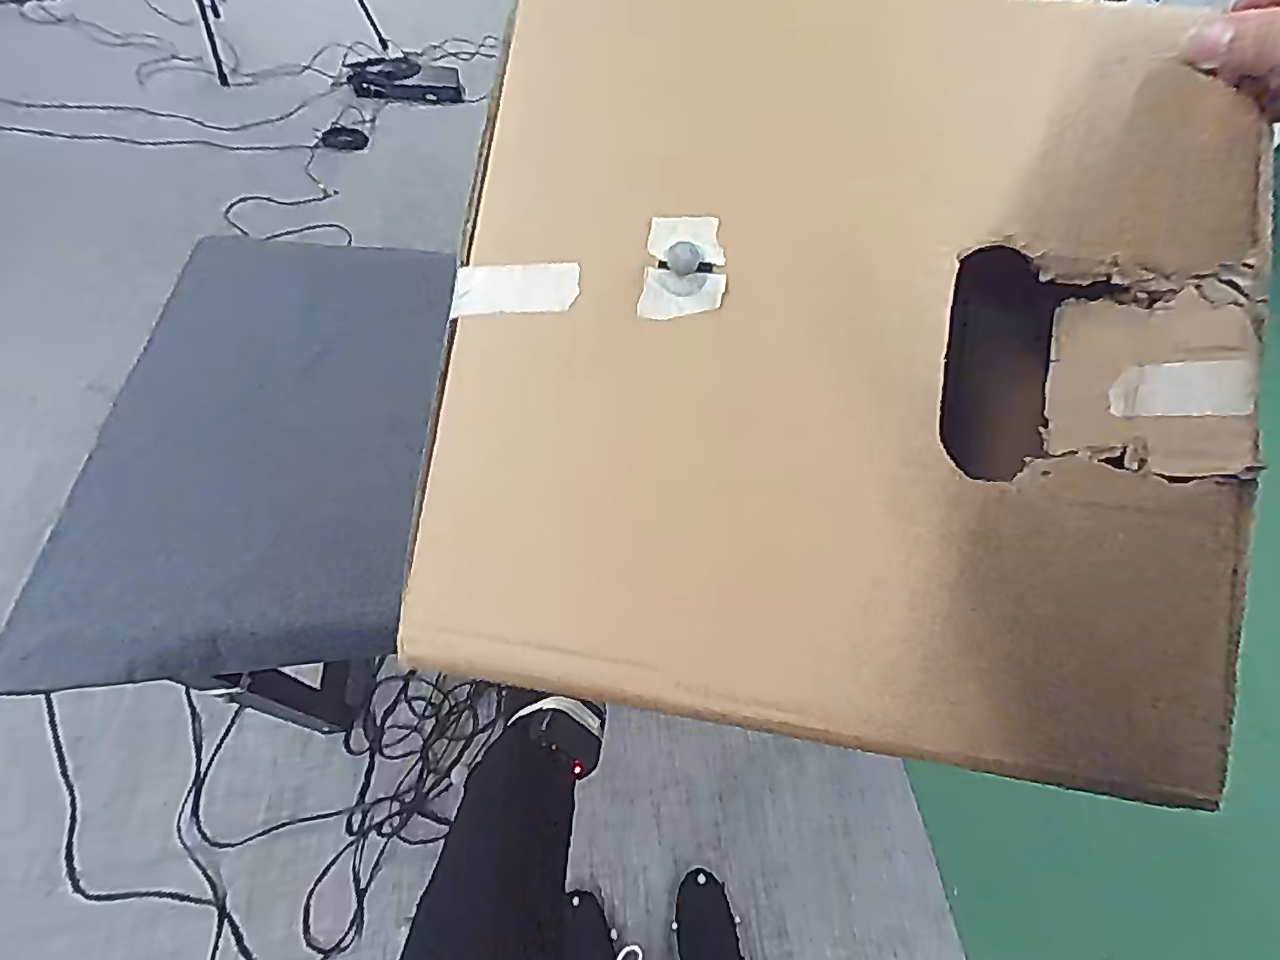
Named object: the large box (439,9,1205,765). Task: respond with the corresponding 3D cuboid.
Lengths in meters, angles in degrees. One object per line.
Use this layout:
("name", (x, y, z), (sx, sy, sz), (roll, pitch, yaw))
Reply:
("large box", (0.085, -0.040, 0.423), (0.320, 0.408, 0.320), (8, 86, 3))
